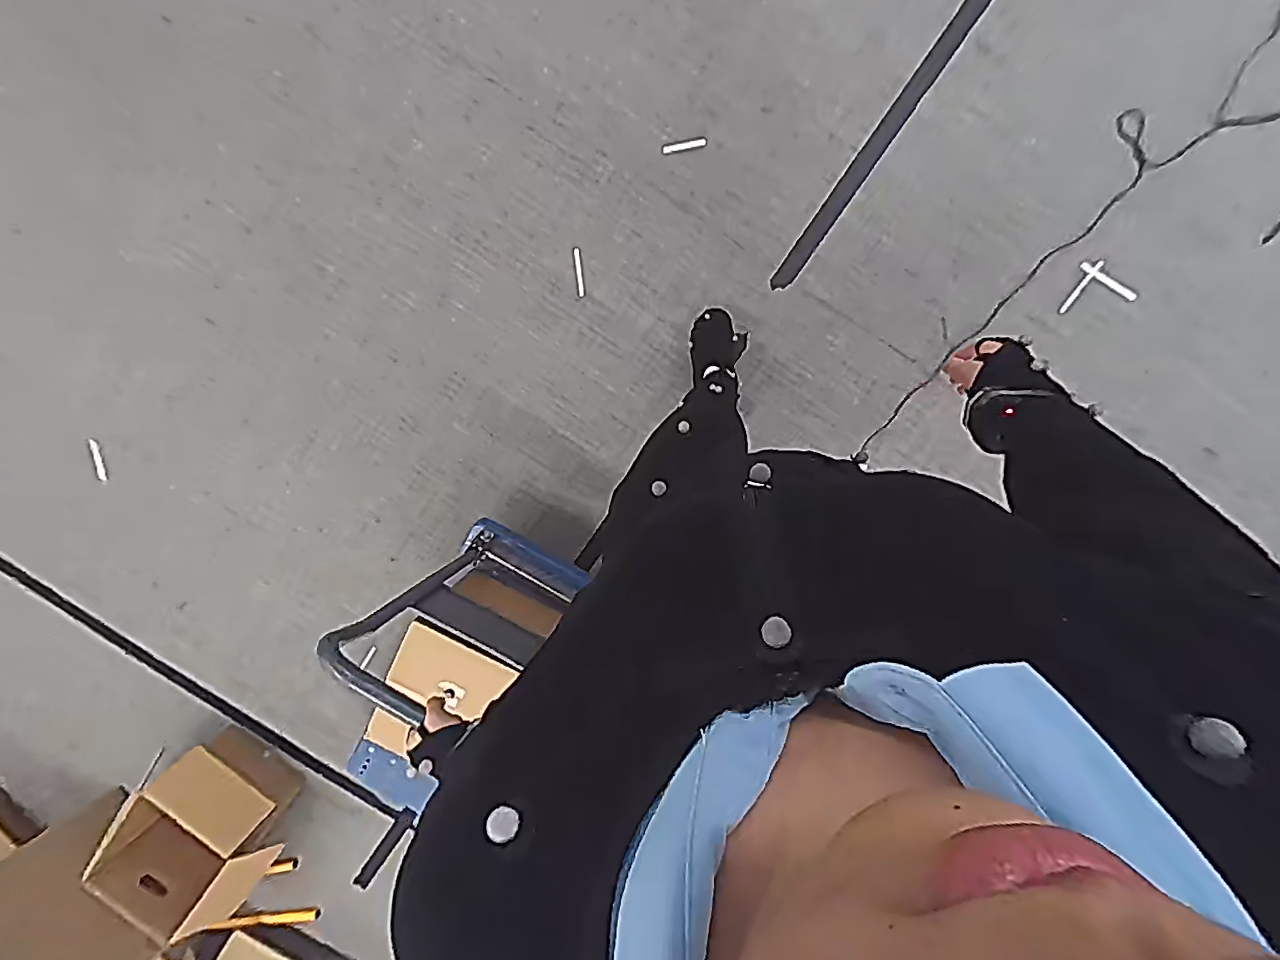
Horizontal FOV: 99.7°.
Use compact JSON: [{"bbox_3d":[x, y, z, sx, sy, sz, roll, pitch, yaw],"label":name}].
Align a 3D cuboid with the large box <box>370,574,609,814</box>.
[{"bbox_3d":[-0.331,0.482,1.286,0.408,0.320,0.320,26,101,1],"label":"large box"}]
